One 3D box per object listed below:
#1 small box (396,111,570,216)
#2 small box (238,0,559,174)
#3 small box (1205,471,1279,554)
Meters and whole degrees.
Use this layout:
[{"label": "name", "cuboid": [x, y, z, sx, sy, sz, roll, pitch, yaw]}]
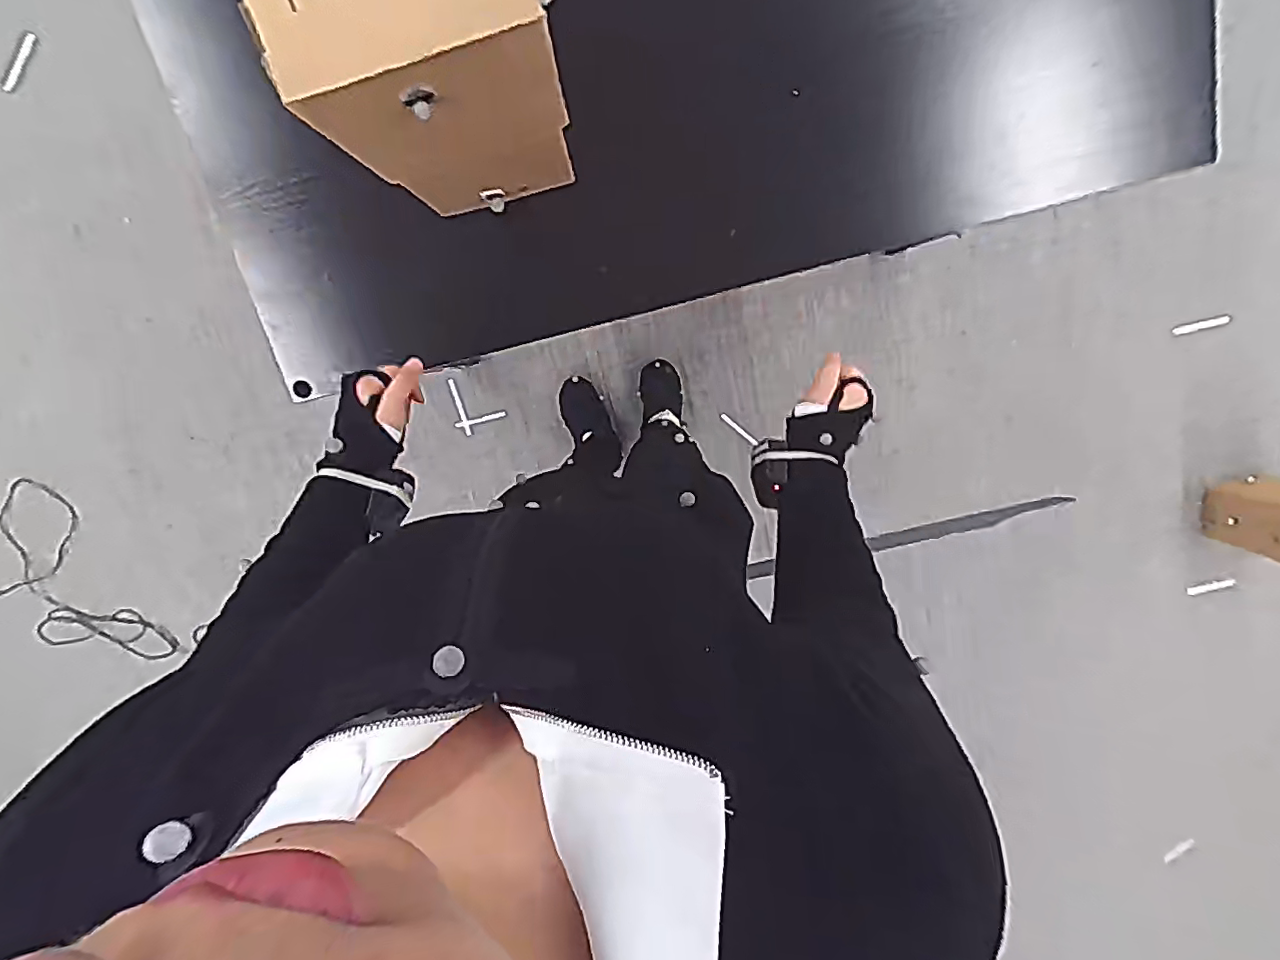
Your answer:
[{"label": "small box", "cuboid": [-0.180, -0.403, 0.561, 0.168, 0.176, 0.179, -16, 104, 2]}, {"label": "small box", "cuboid": [-0.173, -0.359, 0.402, 0.179, 0.176, 0.168, -17, 103, 2]}, {"label": "small box", "cuboid": [1.743, 0.085, 1.509, 0.179, 0.176, 0.168, -14, 104, 2]}]
